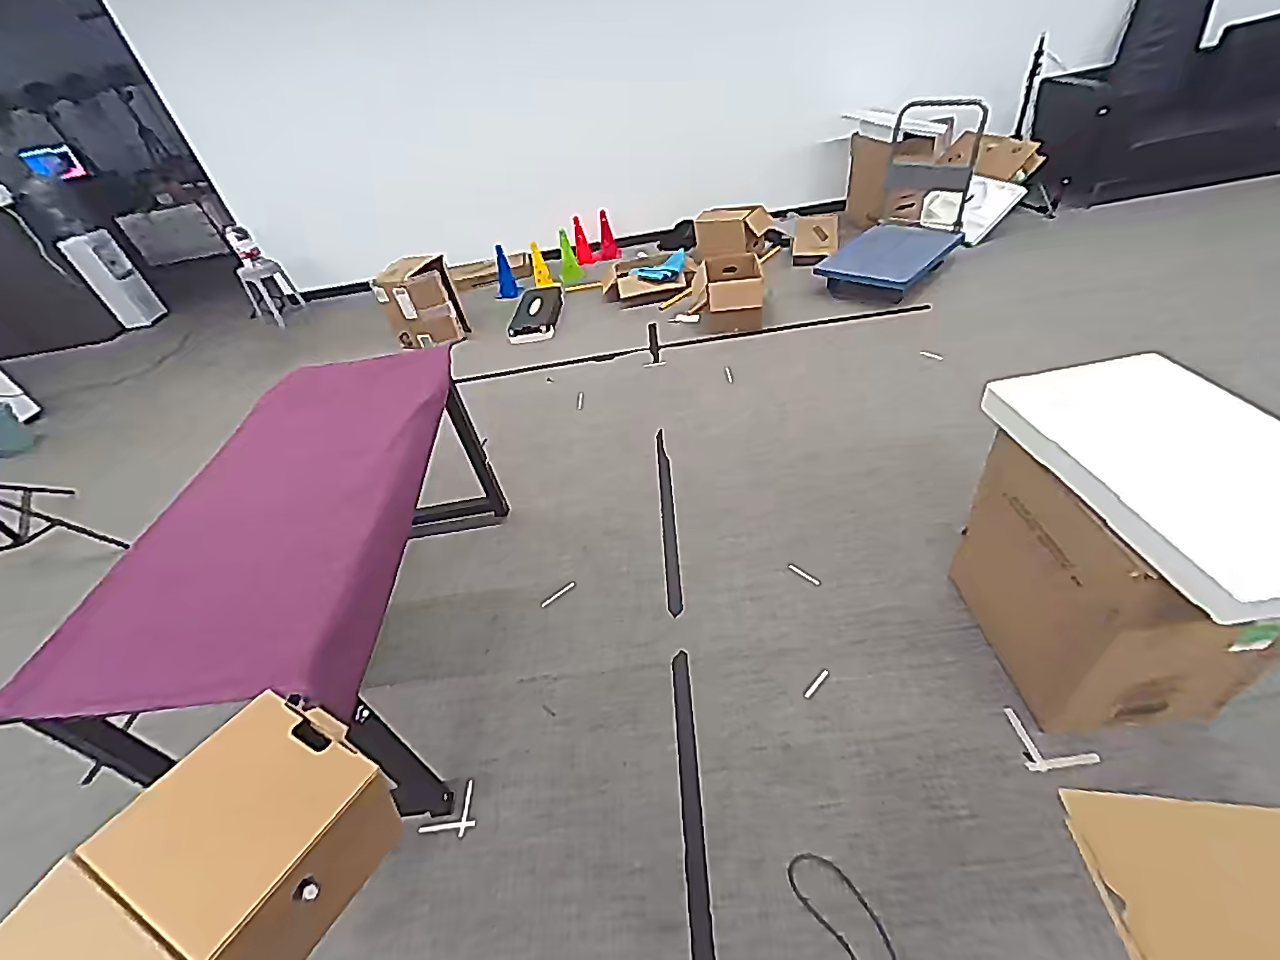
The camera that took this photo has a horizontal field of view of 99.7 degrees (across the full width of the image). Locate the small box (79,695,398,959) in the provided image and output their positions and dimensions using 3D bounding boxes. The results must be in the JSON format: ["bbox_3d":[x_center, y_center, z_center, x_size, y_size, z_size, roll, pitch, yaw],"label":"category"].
[{"bbox_3d":[-0.374,0.366,0.543,0.168,0.176,0.179,23,40,17],"label":"small box"}]
